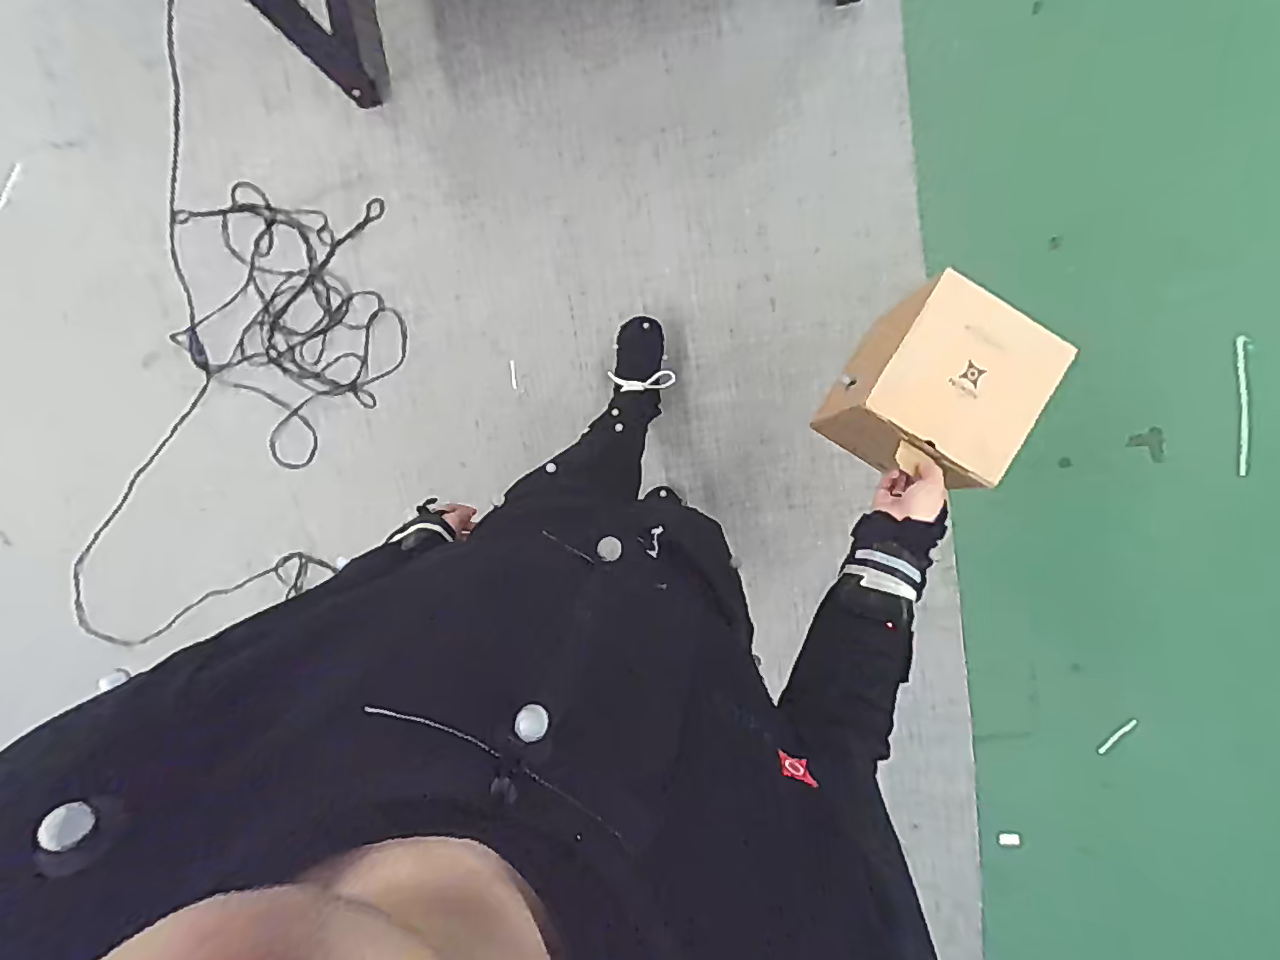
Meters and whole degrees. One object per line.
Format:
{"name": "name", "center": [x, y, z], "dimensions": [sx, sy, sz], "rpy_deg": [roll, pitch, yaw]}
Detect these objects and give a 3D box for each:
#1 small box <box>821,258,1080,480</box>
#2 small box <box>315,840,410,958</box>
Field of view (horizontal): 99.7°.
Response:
{"name": "small box", "center": [0.337, -0.111, 0.630], "dimensions": [0.168, 0.176, 0.179], "rpy_deg": [32, 87, -2]}
{"name": "small box", "center": [-0.732, 1.109, 1.441], "dimensions": [0.168, 0.176, 0.179], "rpy_deg": [3, 97, 4]}
